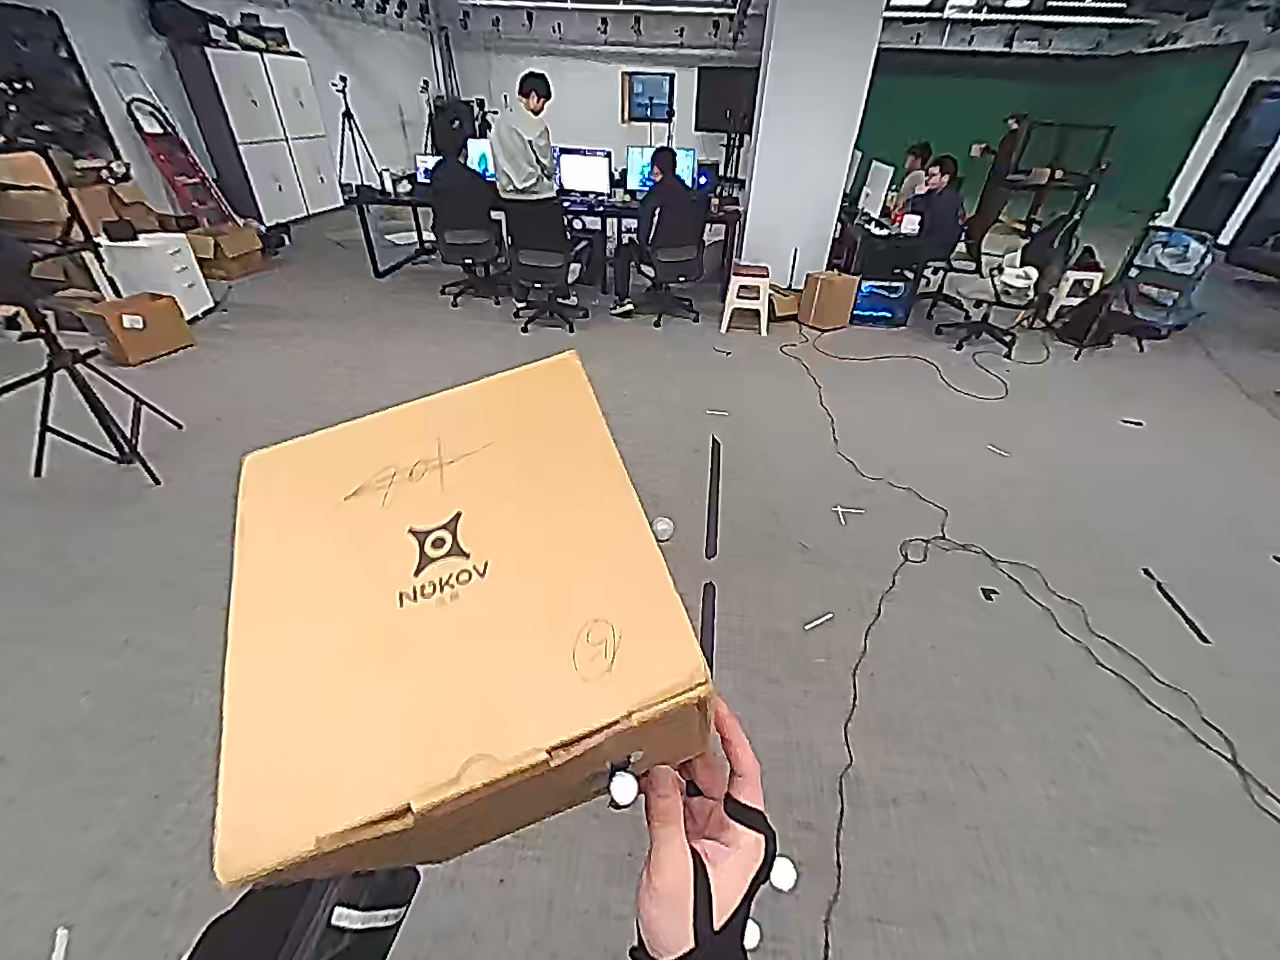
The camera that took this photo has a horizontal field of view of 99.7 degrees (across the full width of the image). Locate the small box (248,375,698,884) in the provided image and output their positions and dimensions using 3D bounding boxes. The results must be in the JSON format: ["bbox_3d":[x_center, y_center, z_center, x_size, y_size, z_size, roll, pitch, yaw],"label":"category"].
[{"bbox_3d":[-0.074,0.081,0.298,0.168,0.176,0.179,-21,57,-7],"label":"small box"}]
